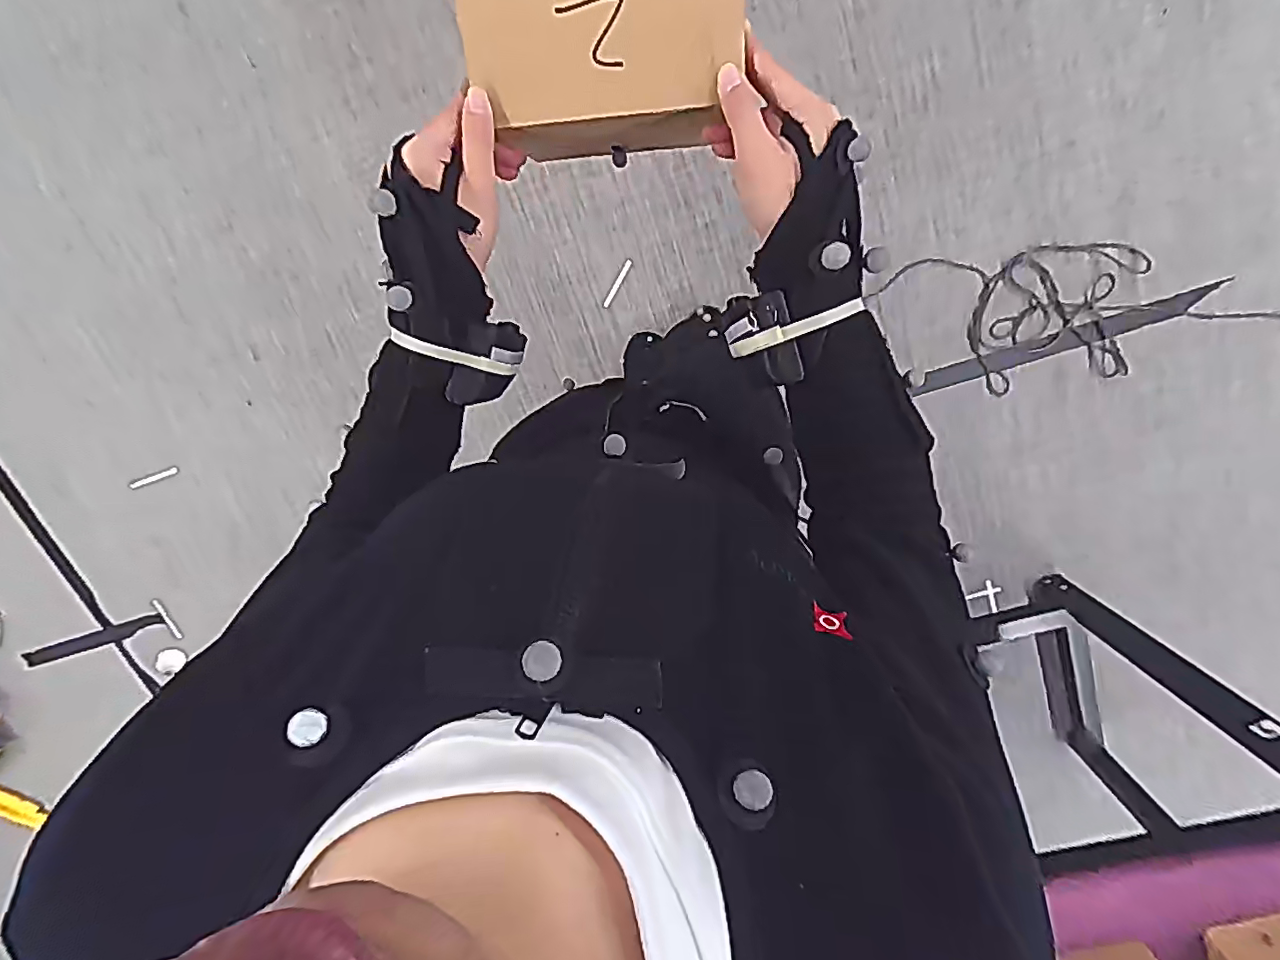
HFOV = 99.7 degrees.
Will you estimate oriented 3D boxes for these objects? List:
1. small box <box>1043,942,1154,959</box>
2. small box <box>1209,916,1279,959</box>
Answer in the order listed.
[{"bbox_3d":[0.683,0.800,0.753,0.179,0.176,0.168,-21,106,10],"label":"small box"},{"bbox_3d":[0.924,0.720,0.718,0.168,0.176,0.179,-24,105,10],"label":"small box"}]
